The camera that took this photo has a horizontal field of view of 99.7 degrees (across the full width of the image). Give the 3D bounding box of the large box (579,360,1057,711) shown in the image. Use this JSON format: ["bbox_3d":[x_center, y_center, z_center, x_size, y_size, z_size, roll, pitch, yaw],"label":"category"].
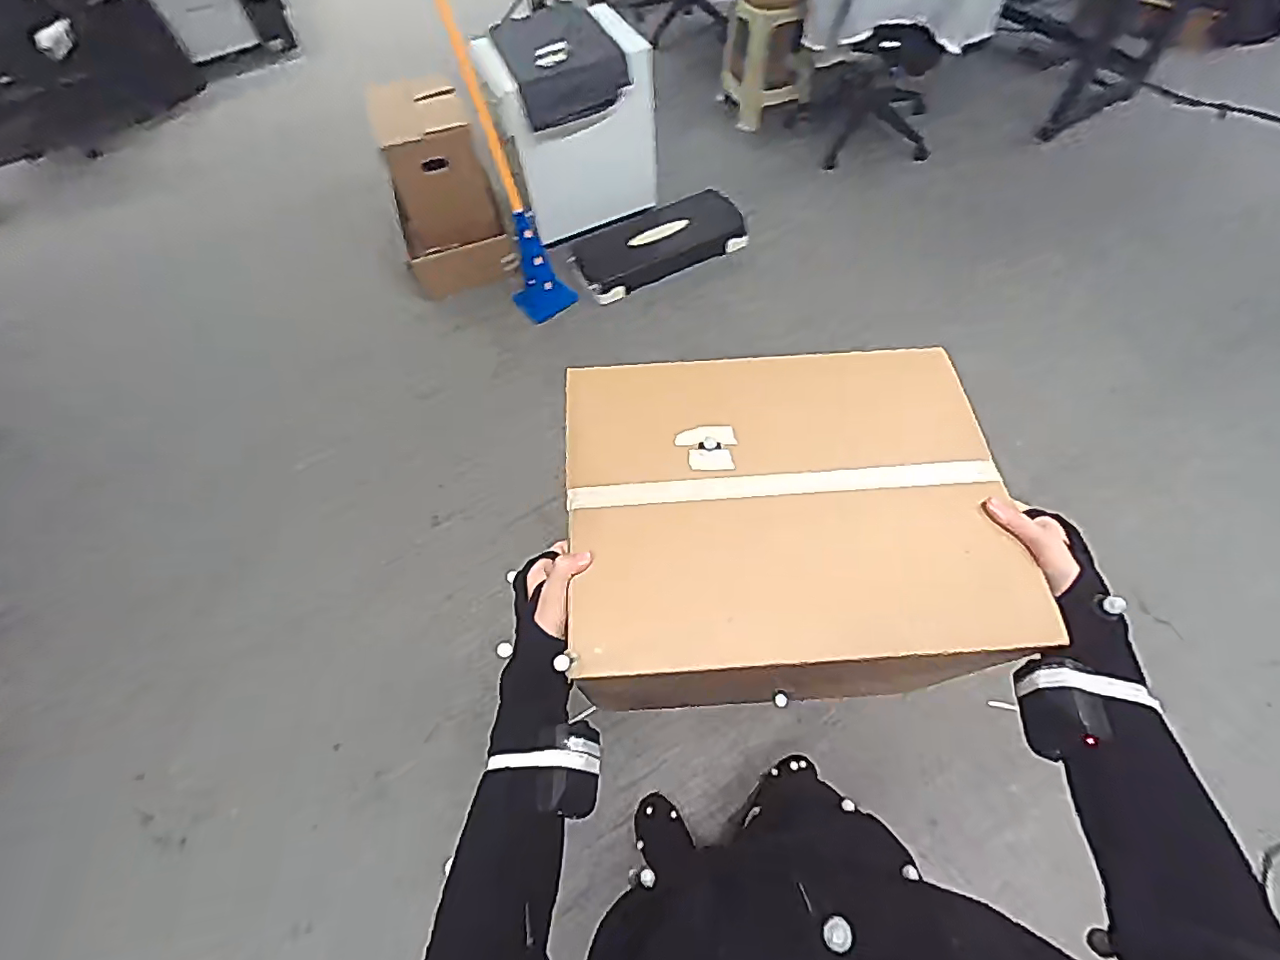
[{"bbox_3d":[0.148,0.088,0.647,0.408,0.320,0.320,-4,61,0],"label":"large box"}]
